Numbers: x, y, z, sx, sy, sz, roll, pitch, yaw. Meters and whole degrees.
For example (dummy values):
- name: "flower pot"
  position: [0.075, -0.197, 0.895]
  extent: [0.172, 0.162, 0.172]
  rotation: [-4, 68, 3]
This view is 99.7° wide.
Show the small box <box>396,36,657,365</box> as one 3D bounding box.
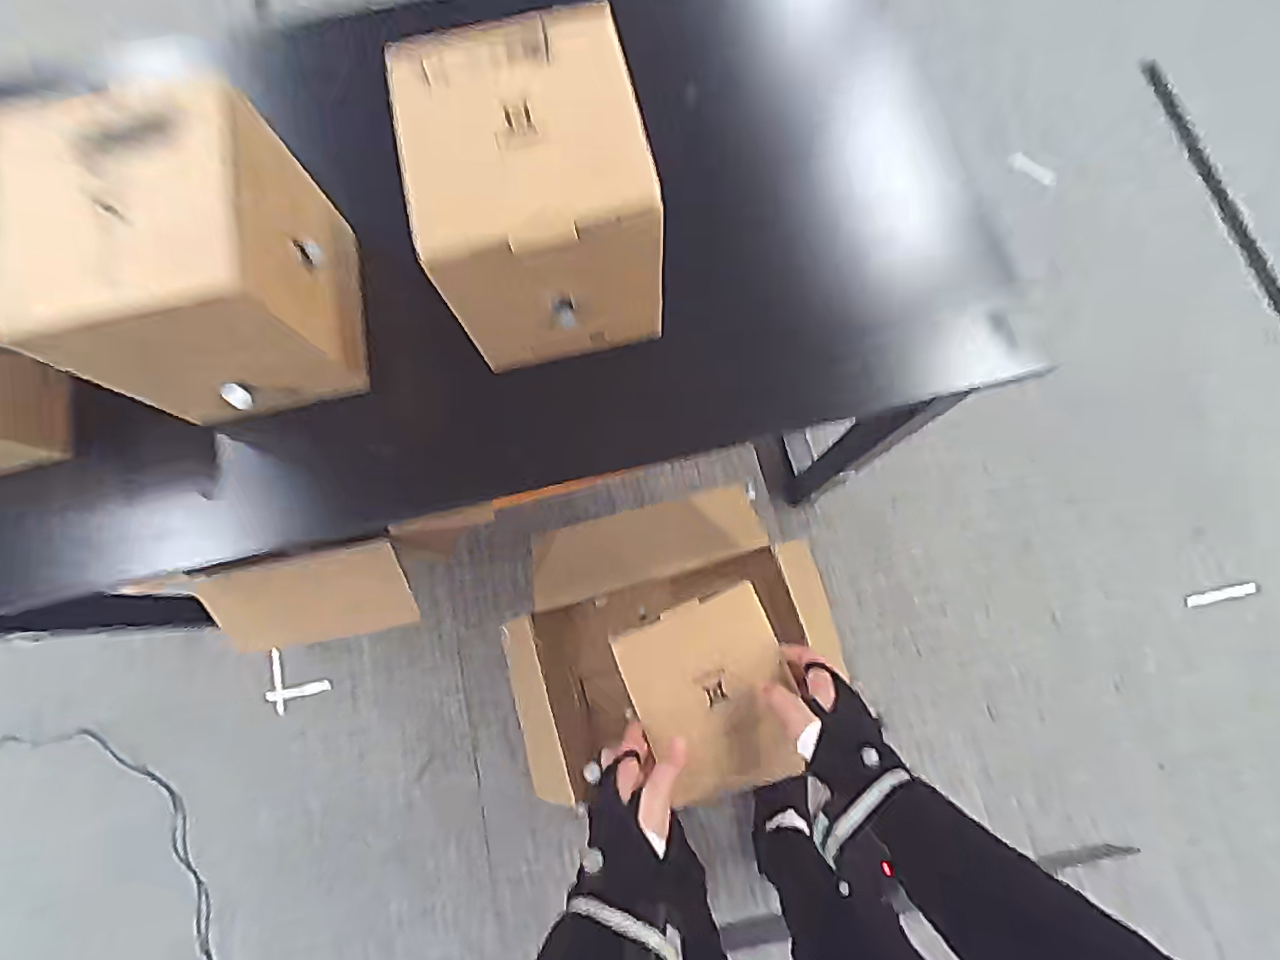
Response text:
- name: "small box"
  position: [-0.081, -0.214, 0.461]
  extent: [0.168, 0.176, 0.179]
  rotation: [-13, 76, -1]

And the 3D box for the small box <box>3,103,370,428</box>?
- name: "small box"
  position: [-0.353, -0.164, 0.456]
  extent: [0.168, 0.176, 0.179]
  rotation: [-12, 77, -1]
